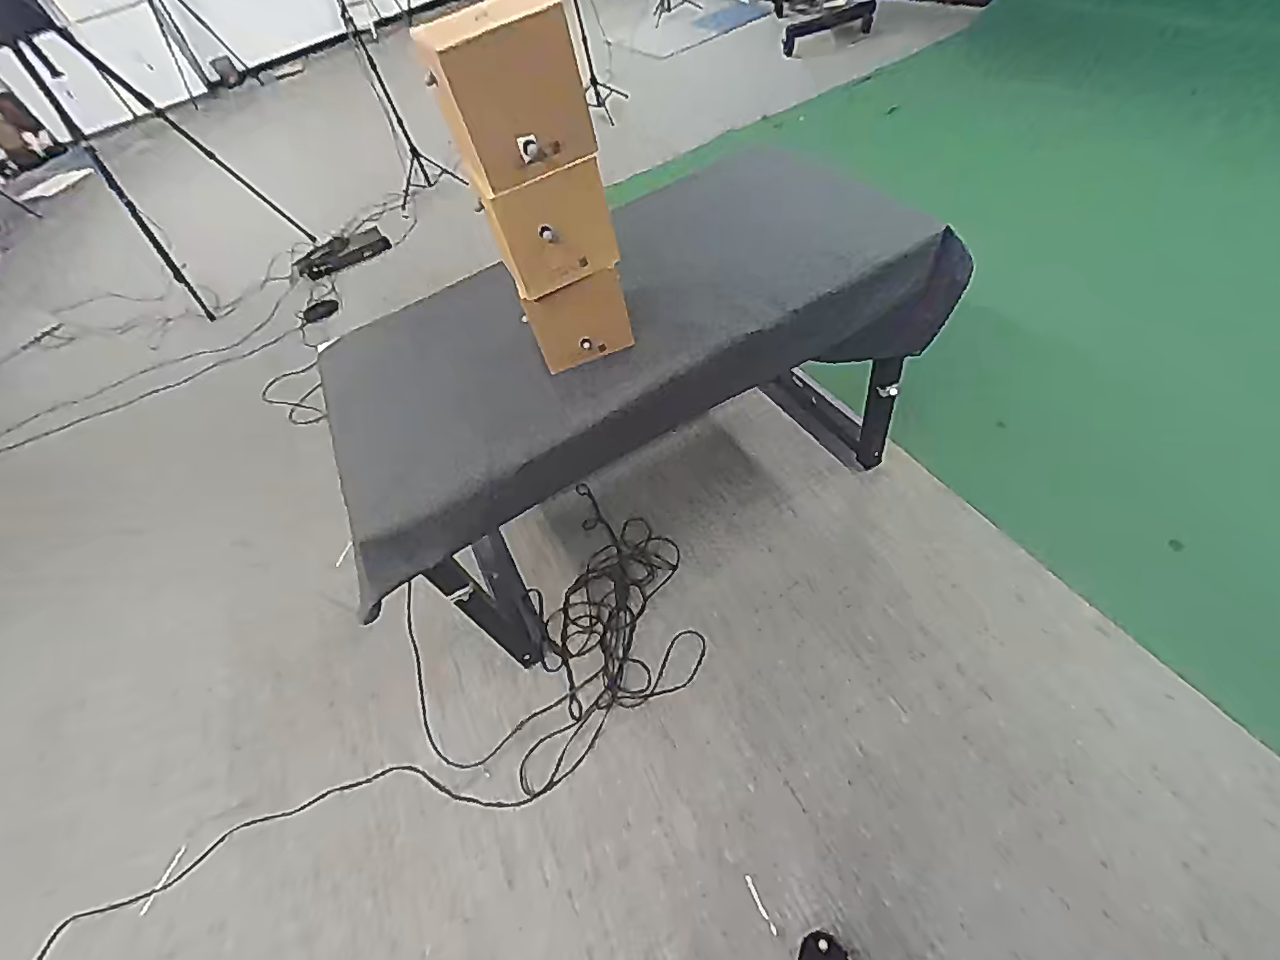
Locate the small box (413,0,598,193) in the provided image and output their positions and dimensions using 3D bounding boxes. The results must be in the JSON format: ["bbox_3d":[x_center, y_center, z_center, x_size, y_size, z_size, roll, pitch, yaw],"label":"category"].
[{"bbox_3d":[-0.178,-0.524,0.738,0.168,0.176,0.179,-29,52,-8],"label":"small box"}]

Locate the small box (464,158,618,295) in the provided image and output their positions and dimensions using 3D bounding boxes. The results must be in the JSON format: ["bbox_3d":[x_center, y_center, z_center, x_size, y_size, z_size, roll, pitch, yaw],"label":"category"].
[{"bbox_3d":[-0.152,-0.421,0.861,0.168,0.176,0.179,-27,51,-7],"label":"small box"}]
